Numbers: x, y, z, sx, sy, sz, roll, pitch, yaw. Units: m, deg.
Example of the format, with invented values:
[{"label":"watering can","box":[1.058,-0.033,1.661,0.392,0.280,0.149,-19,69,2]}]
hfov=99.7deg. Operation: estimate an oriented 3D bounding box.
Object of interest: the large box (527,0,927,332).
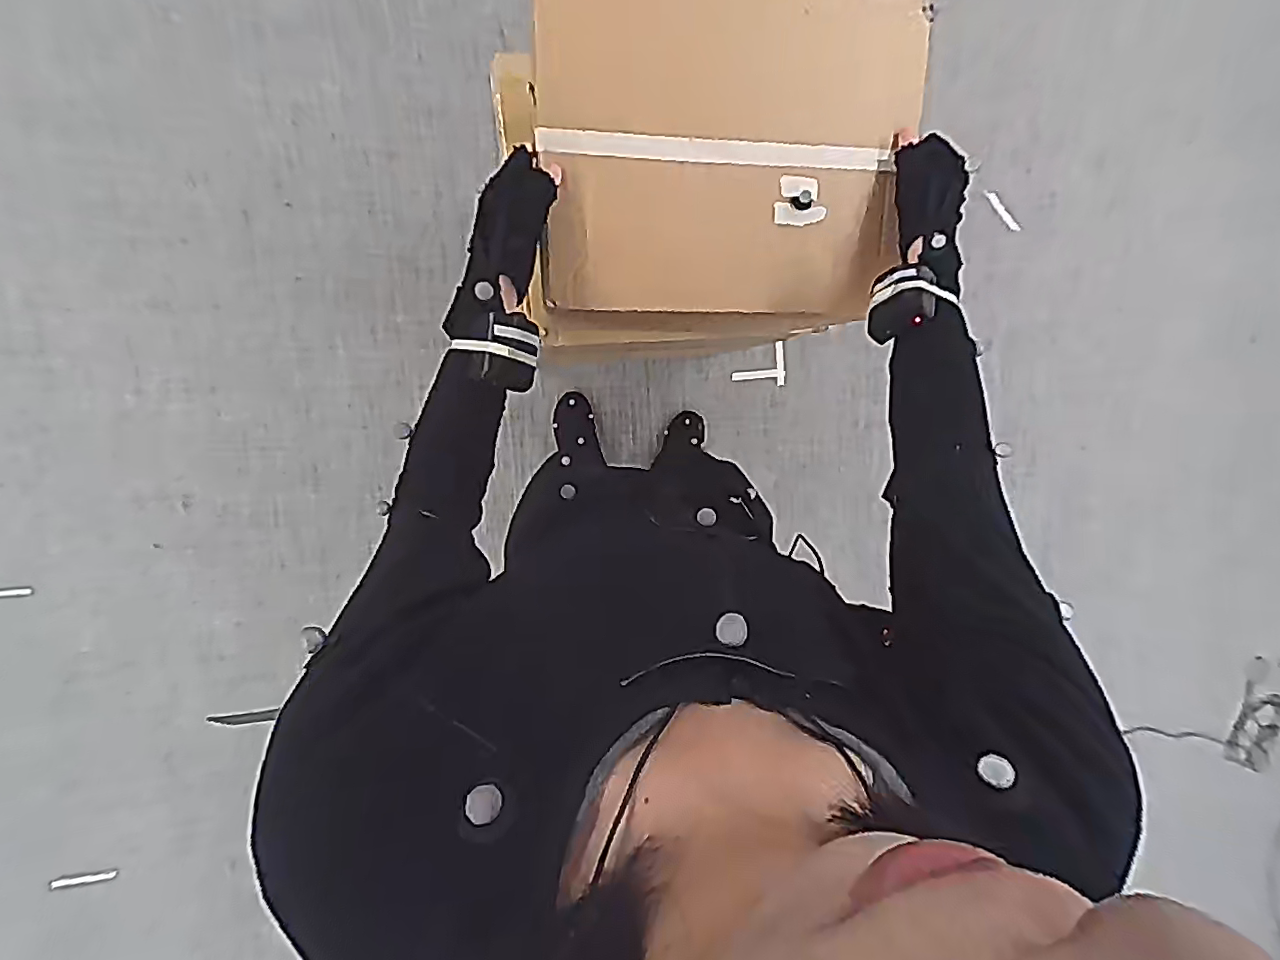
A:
[{"label":"large box","box":[0.073,-0.361,0.686,0.408,0.320,0.320,-3,102,-10]}]
